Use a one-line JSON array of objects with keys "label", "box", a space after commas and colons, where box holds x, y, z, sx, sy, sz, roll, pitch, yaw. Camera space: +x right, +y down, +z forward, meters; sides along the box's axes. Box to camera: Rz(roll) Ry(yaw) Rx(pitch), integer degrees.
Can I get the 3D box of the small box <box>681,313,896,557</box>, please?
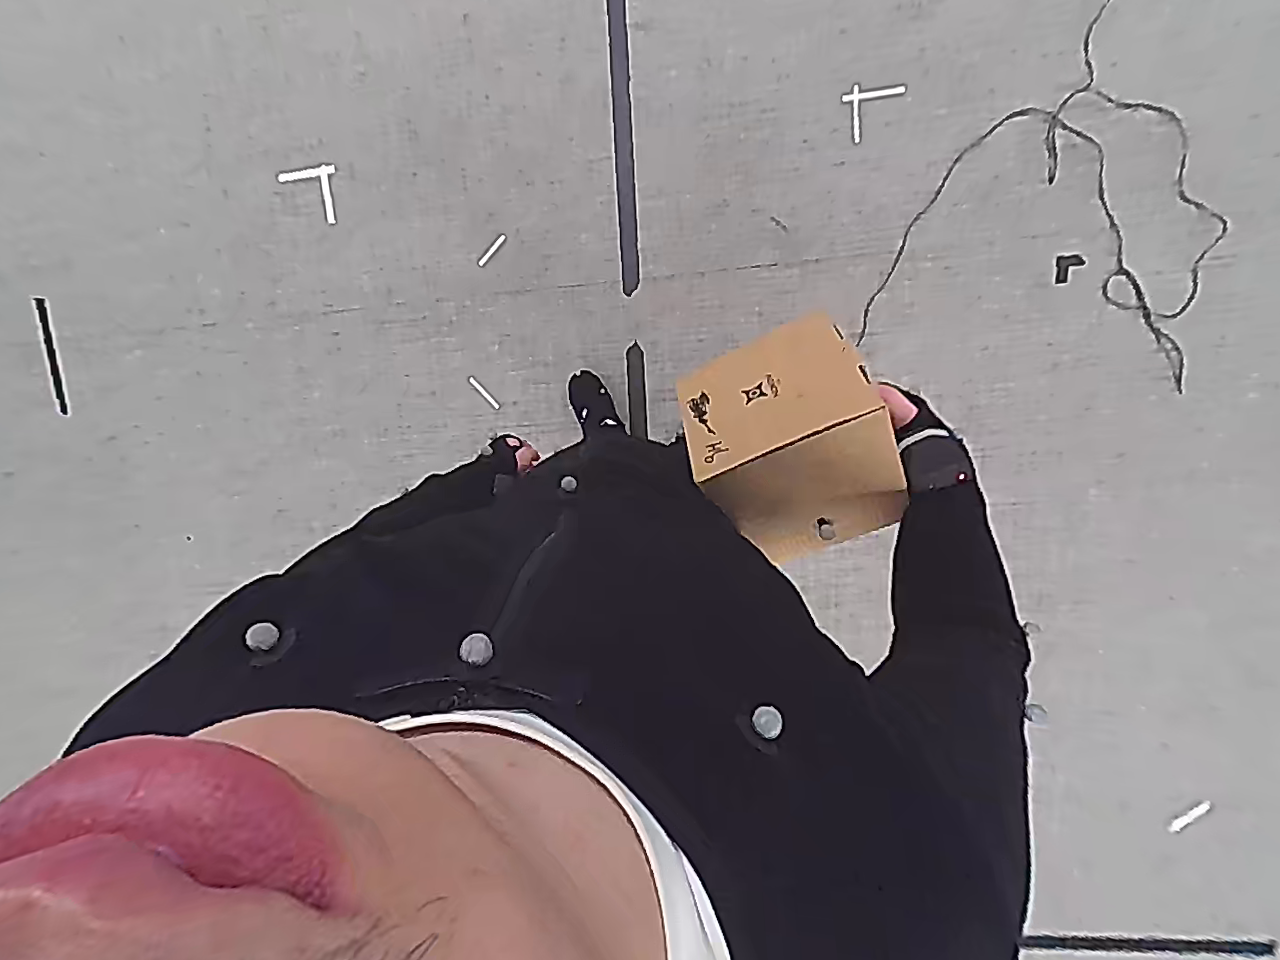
[{"label": "small box", "box": [0.165, -0.043, 0.596, 0.179, 0.168, 0.176, -23, 132, 17]}]
